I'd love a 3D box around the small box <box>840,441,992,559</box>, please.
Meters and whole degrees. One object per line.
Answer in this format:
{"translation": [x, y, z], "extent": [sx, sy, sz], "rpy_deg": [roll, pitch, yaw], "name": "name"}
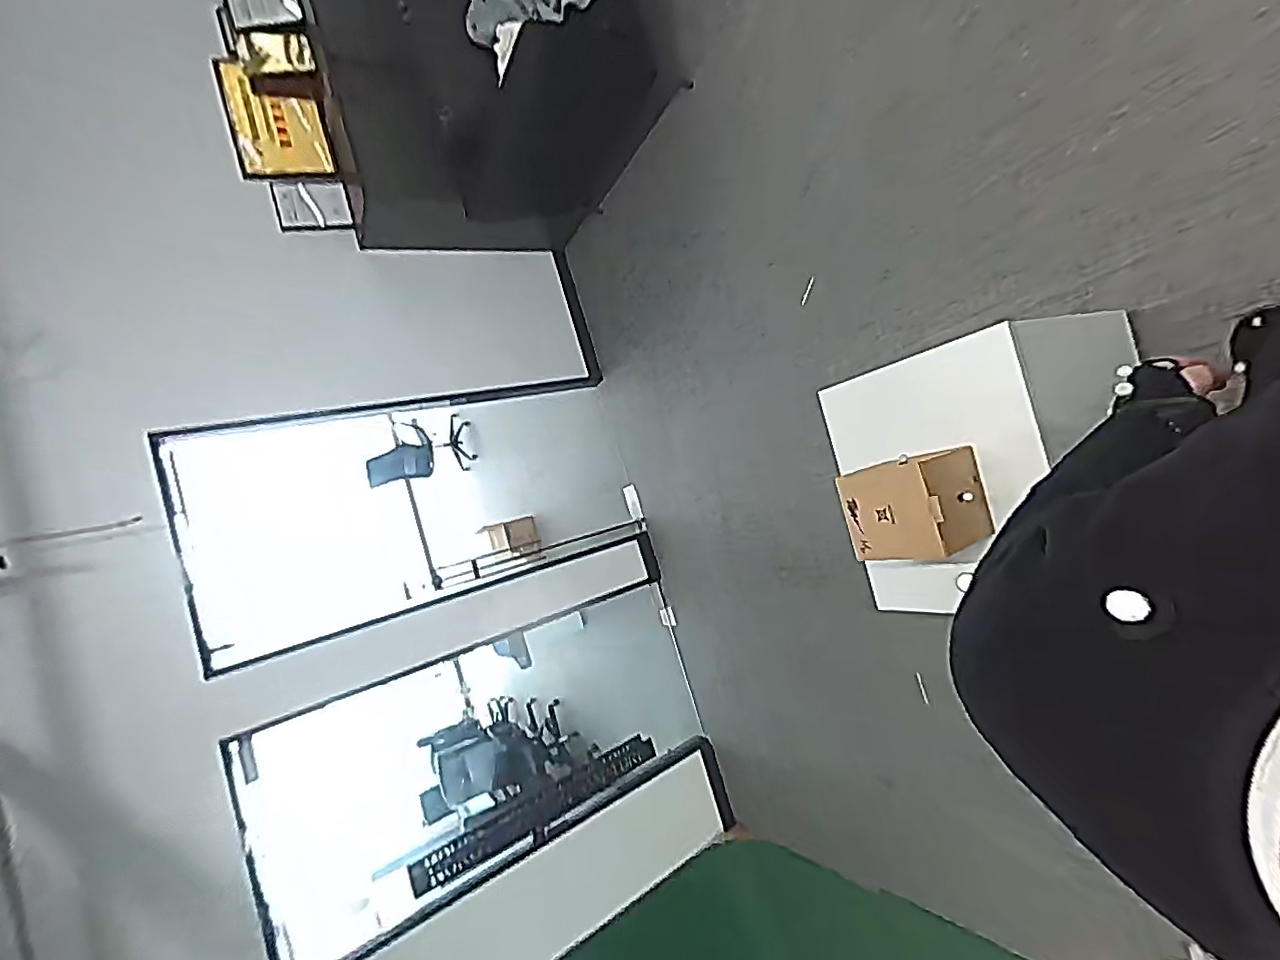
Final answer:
{"translation": [0.511, 0.037, 0.993], "extent": [0.179, 0.176, 0.168], "rpy_deg": [-22, 84, 58], "name": "small box"}
